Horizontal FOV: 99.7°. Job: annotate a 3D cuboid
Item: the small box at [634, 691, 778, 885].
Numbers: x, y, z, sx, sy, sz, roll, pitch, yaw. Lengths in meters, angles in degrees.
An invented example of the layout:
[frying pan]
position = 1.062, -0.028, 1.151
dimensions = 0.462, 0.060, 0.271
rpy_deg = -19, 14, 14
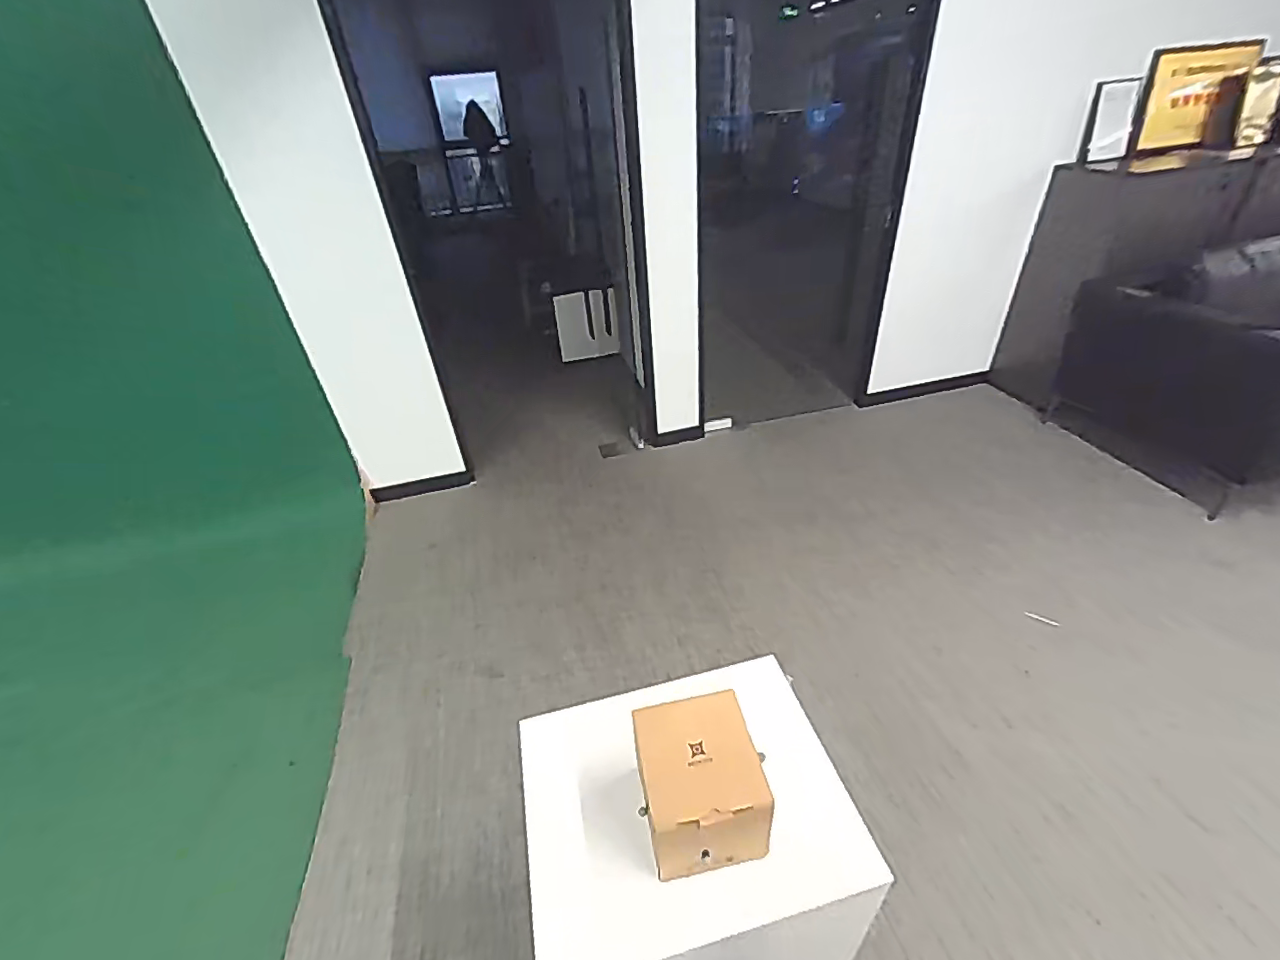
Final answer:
[small box]
position = 0.089, 0.450, 0.799
dimensions = 0.168, 0.176, 0.179
rpy_deg = -10, 34, -7
